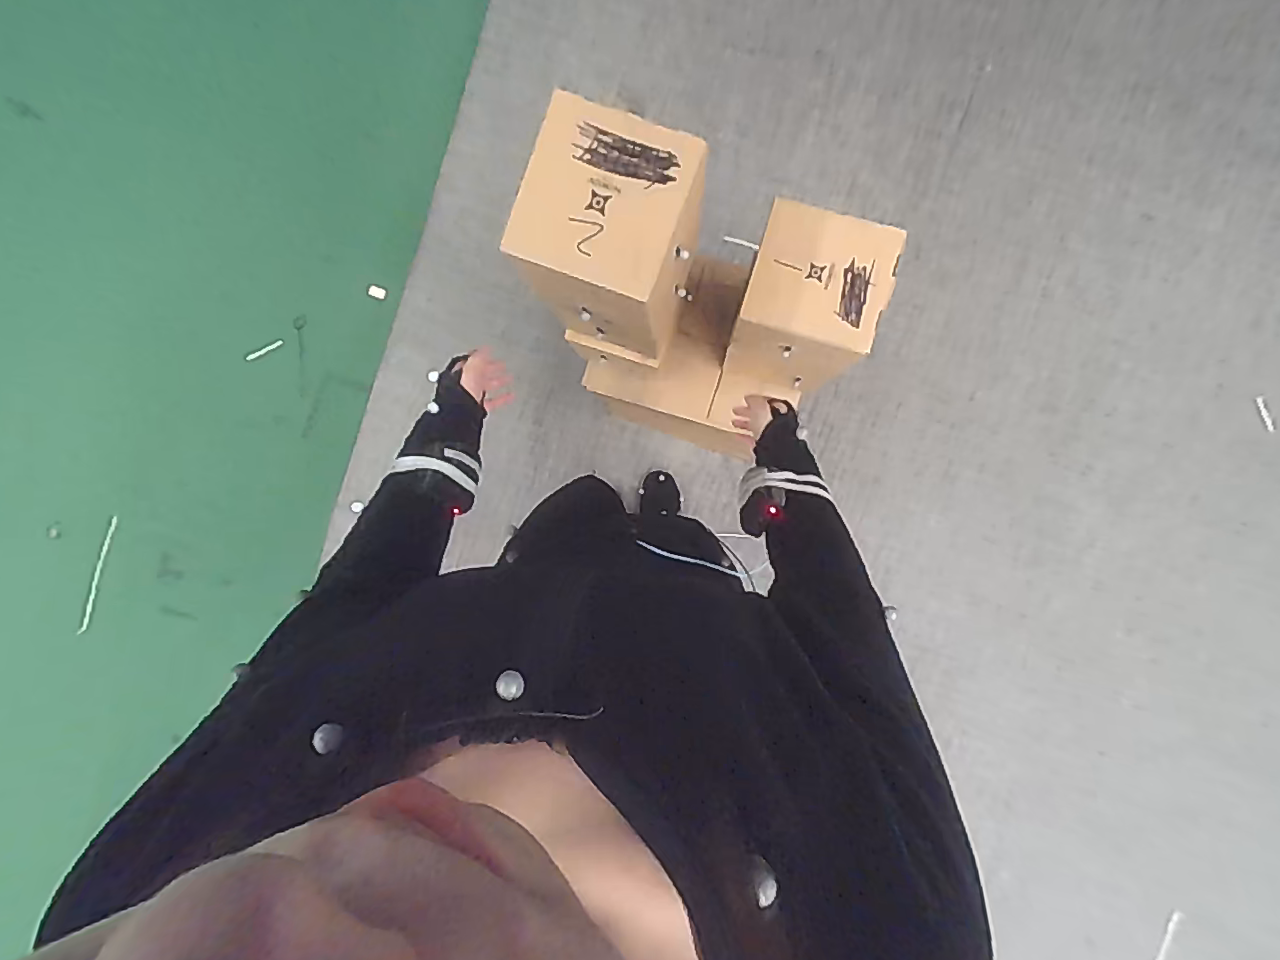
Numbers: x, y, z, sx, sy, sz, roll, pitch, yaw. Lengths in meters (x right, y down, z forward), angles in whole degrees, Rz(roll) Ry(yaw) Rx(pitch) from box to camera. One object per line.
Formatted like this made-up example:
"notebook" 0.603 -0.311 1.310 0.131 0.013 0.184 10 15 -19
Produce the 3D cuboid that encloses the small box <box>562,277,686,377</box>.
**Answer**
"small box" -0.020 -0.296 0.957 0.168 0.176 0.179 19 92 2

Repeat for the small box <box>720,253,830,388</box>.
"small box" 0.248 -0.267 0.943 0.179 0.176 0.168 17 92 5

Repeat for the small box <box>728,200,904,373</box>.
"small box" 0.238 -0.263 0.779 0.179 0.176 0.168 19 92 5

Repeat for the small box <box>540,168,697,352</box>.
"small box" -0.025 -0.305 0.793 0.168 0.176 0.179 21 93 1
